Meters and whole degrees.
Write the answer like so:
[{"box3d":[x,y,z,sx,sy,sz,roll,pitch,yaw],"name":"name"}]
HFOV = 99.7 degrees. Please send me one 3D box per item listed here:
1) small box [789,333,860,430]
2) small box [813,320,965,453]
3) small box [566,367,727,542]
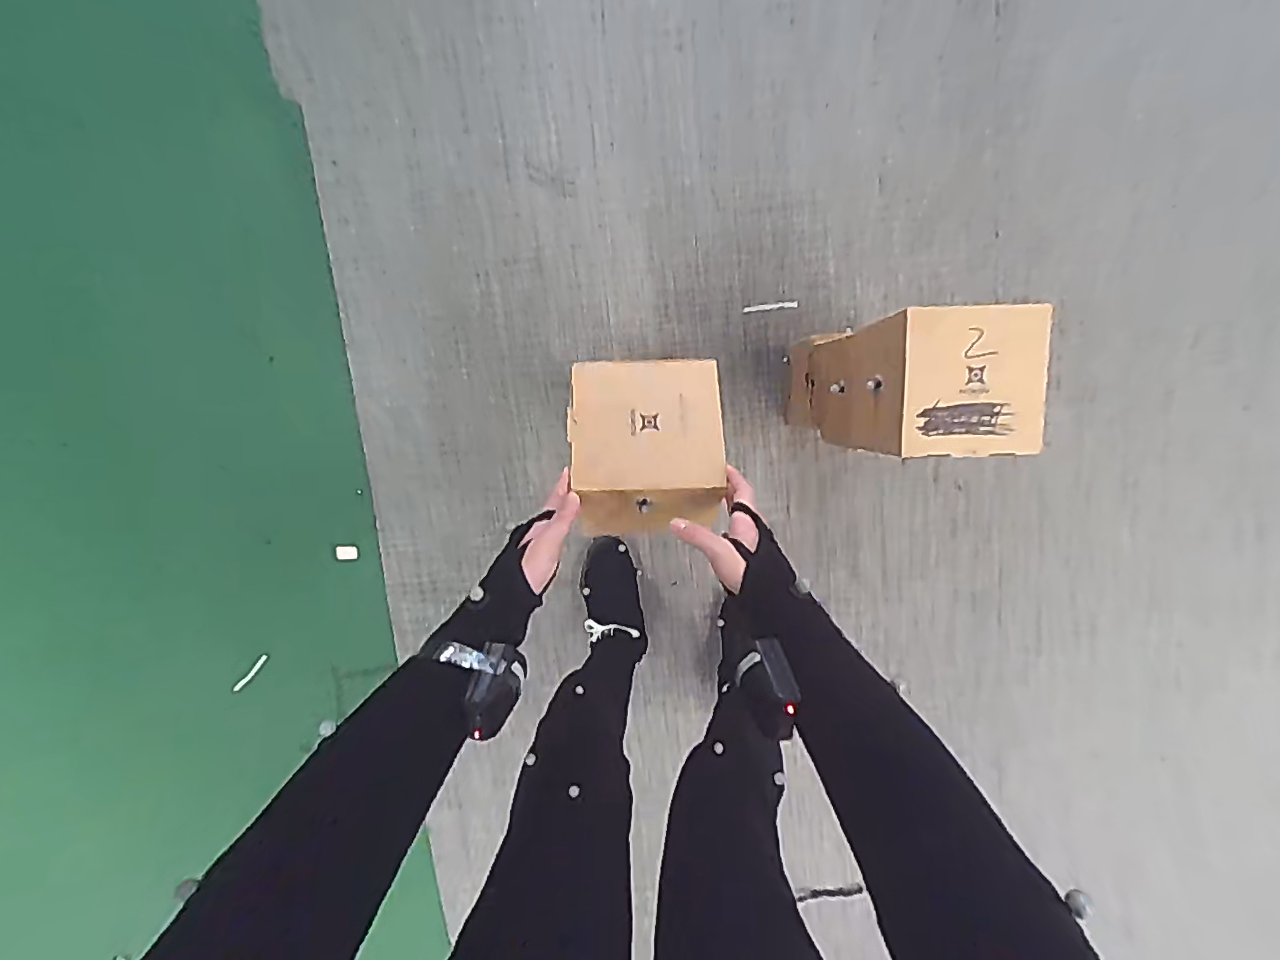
[{"box3d":[0.387,-0.184,1.028,0.179,0.176,0.168,-5,98,1],"name":"small box"},{"box3d":[0.391,-0.147,0.869,0.168,0.176,0.179,-9,98,2],"name":"small box"},{"box3d":[0.007,-0.025,0.685,0.179,0.176,0.168,-2,65,-1],"name":"small box"}]
